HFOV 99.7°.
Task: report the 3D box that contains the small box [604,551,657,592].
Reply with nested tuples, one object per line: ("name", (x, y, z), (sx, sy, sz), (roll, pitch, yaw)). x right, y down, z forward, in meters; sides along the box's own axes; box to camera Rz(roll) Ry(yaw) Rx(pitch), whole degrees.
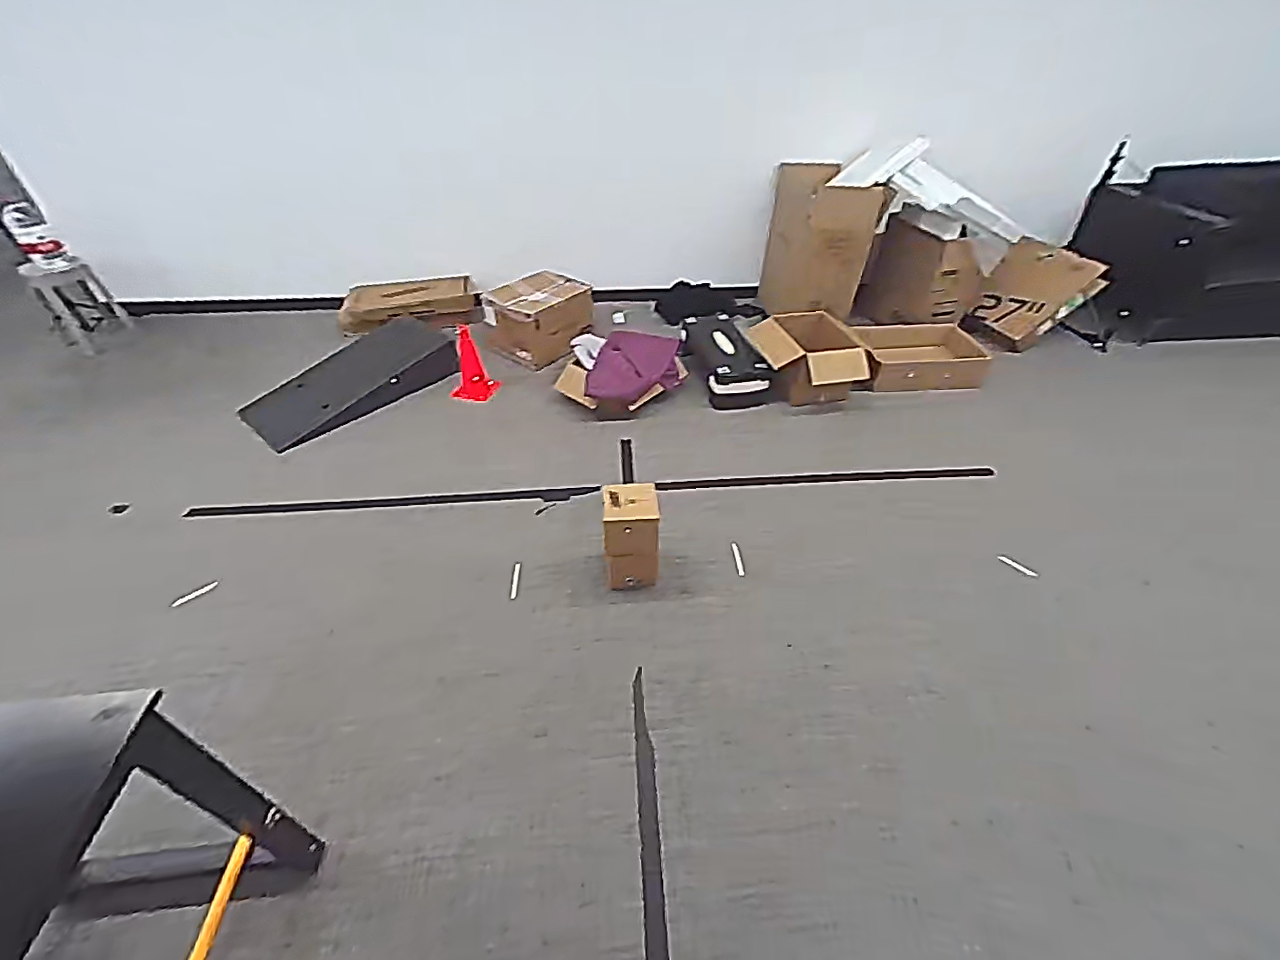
("small box", (-0.037, 0.263, 1.885), (0.168, 0.176, 0.179), (-7, 43, -7))

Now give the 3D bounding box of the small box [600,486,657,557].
("small box", (-0.037, 0.138, 1.777), (0.179, 0.176, 0.168), (-3, 41, -4))
